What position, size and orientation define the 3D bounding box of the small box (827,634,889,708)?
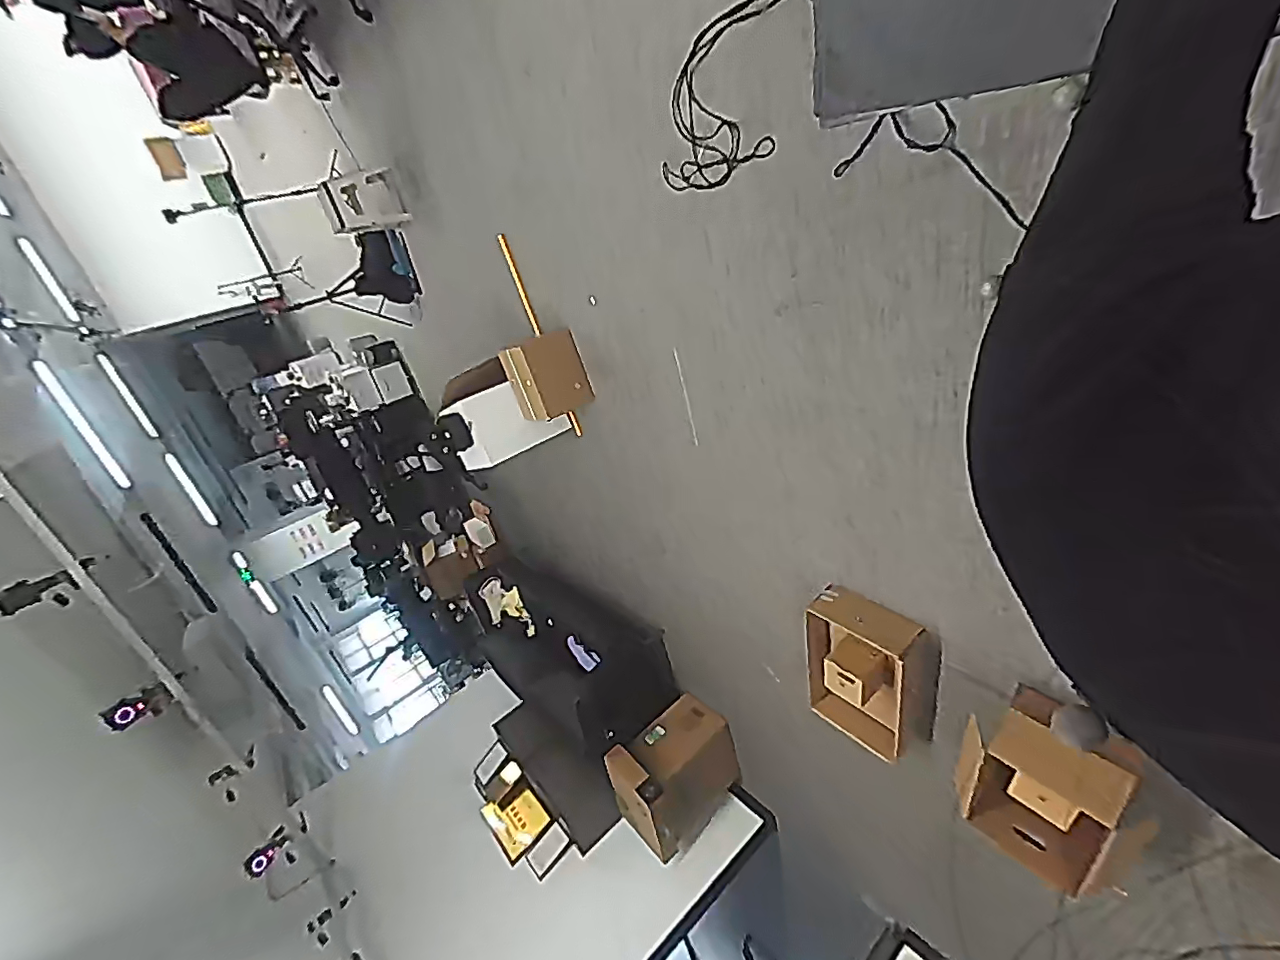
[{"bbox_3d":[0.860,0.746,2.133,0.168,0.176,0.179,27,139,46],"label":"small box"}]
